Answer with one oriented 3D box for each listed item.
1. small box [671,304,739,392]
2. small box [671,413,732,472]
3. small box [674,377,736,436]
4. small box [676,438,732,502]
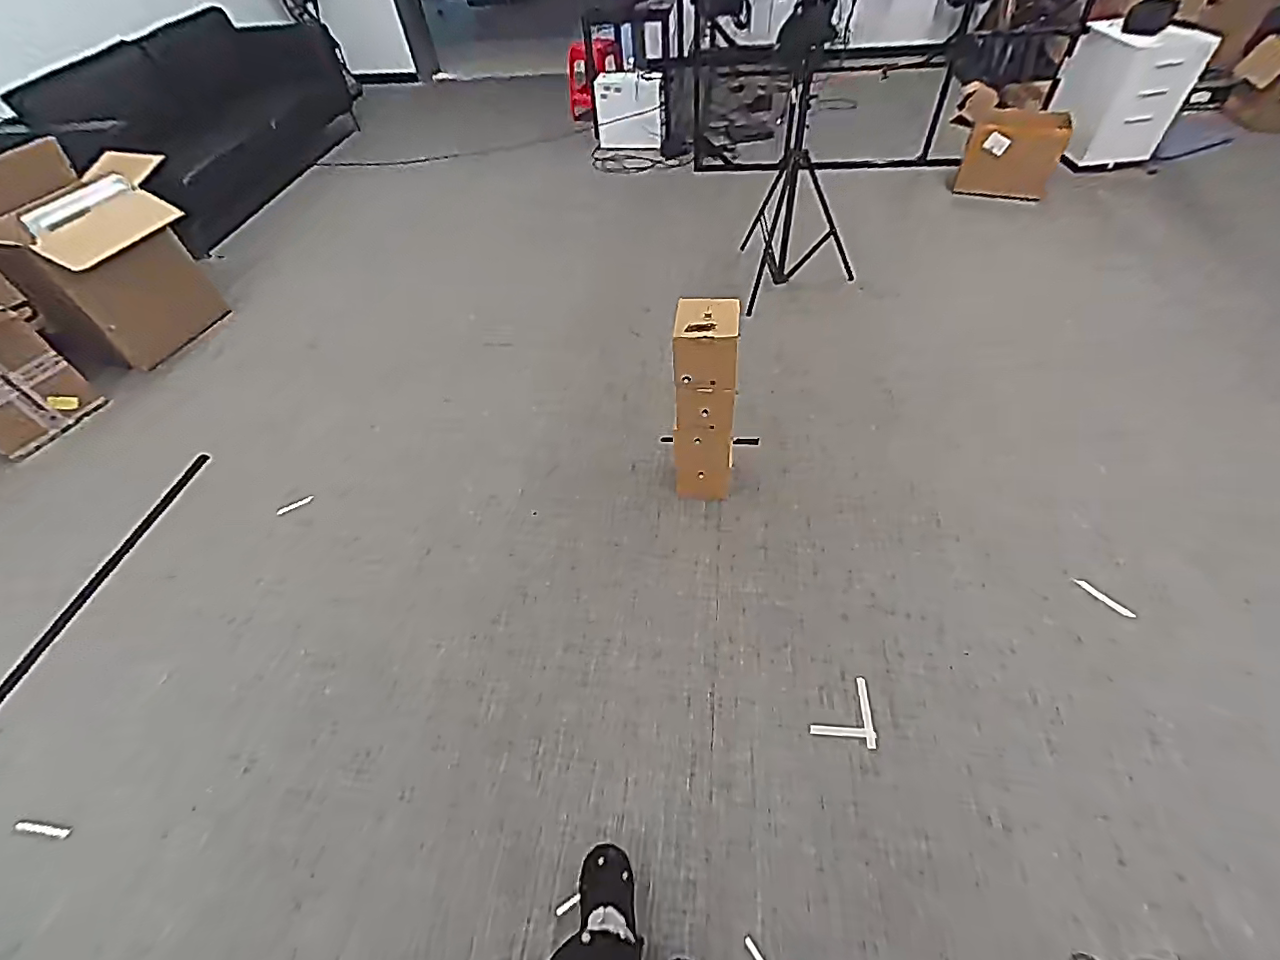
[{"bbox_3d":[0.179,-0.354,1.462,0.168,0.176,0.179,3,50,9],"label":"small box"},{"bbox_3d":[0.198,-0.141,1.711,0.179,0.176,0.168,5,52,10],"label":"small box"},{"bbox_3d":[0.194,-0.247,1.586,0.168,0.176,0.179,4,52,9],"label":"small box"},{"bbox_3d":[0.218,-0.038,1.838,0.179,0.176,0.168,3,51,8],"label":"small box"}]
